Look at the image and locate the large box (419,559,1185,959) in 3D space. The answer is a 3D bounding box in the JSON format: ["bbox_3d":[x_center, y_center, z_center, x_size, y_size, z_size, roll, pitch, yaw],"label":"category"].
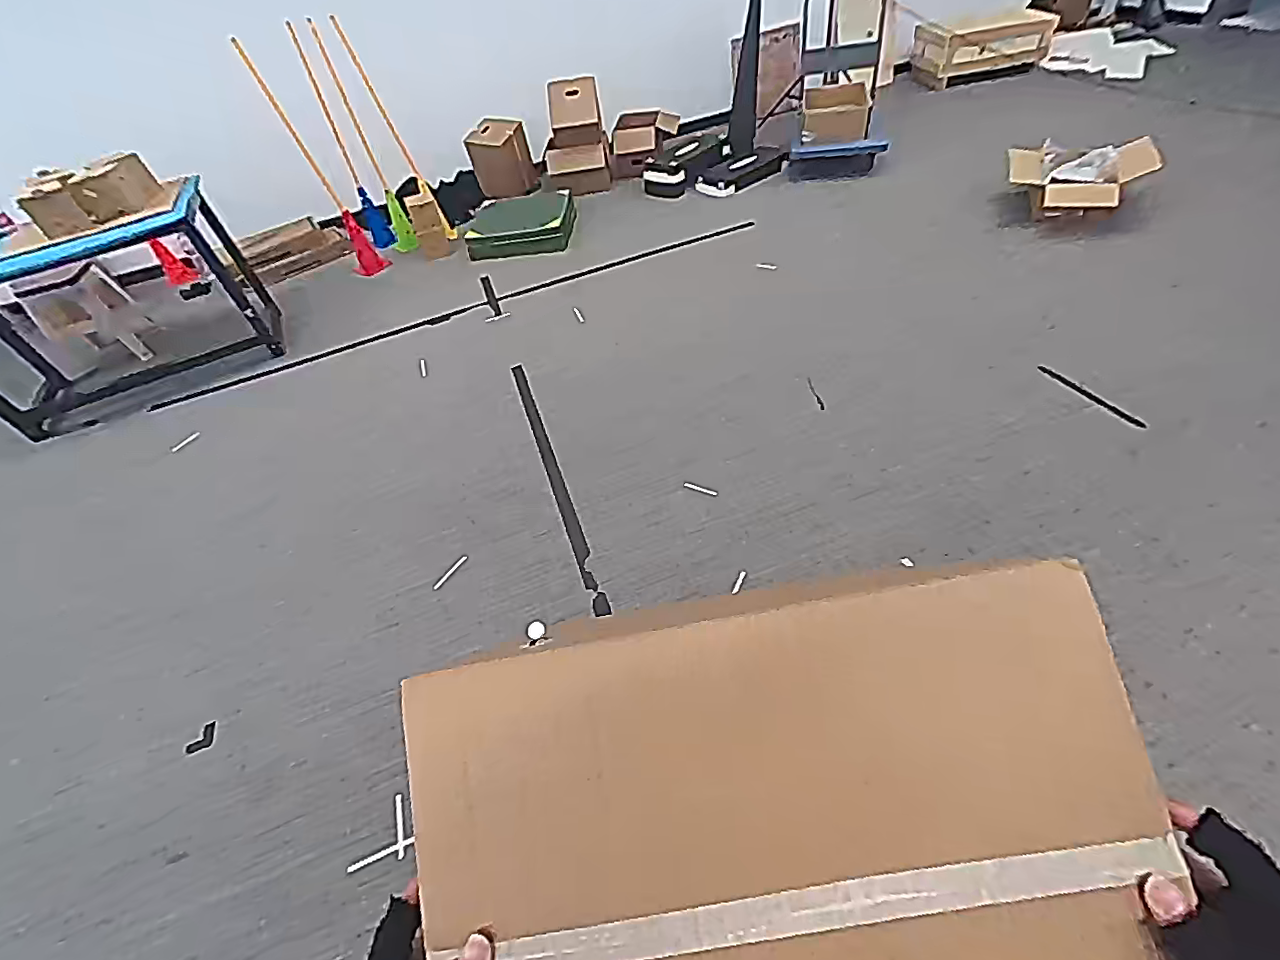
[{"bbox_3d":[0.093,0.263,0.450,0.408,0.320,0.320,-12,80,3],"label":"large box"}]
